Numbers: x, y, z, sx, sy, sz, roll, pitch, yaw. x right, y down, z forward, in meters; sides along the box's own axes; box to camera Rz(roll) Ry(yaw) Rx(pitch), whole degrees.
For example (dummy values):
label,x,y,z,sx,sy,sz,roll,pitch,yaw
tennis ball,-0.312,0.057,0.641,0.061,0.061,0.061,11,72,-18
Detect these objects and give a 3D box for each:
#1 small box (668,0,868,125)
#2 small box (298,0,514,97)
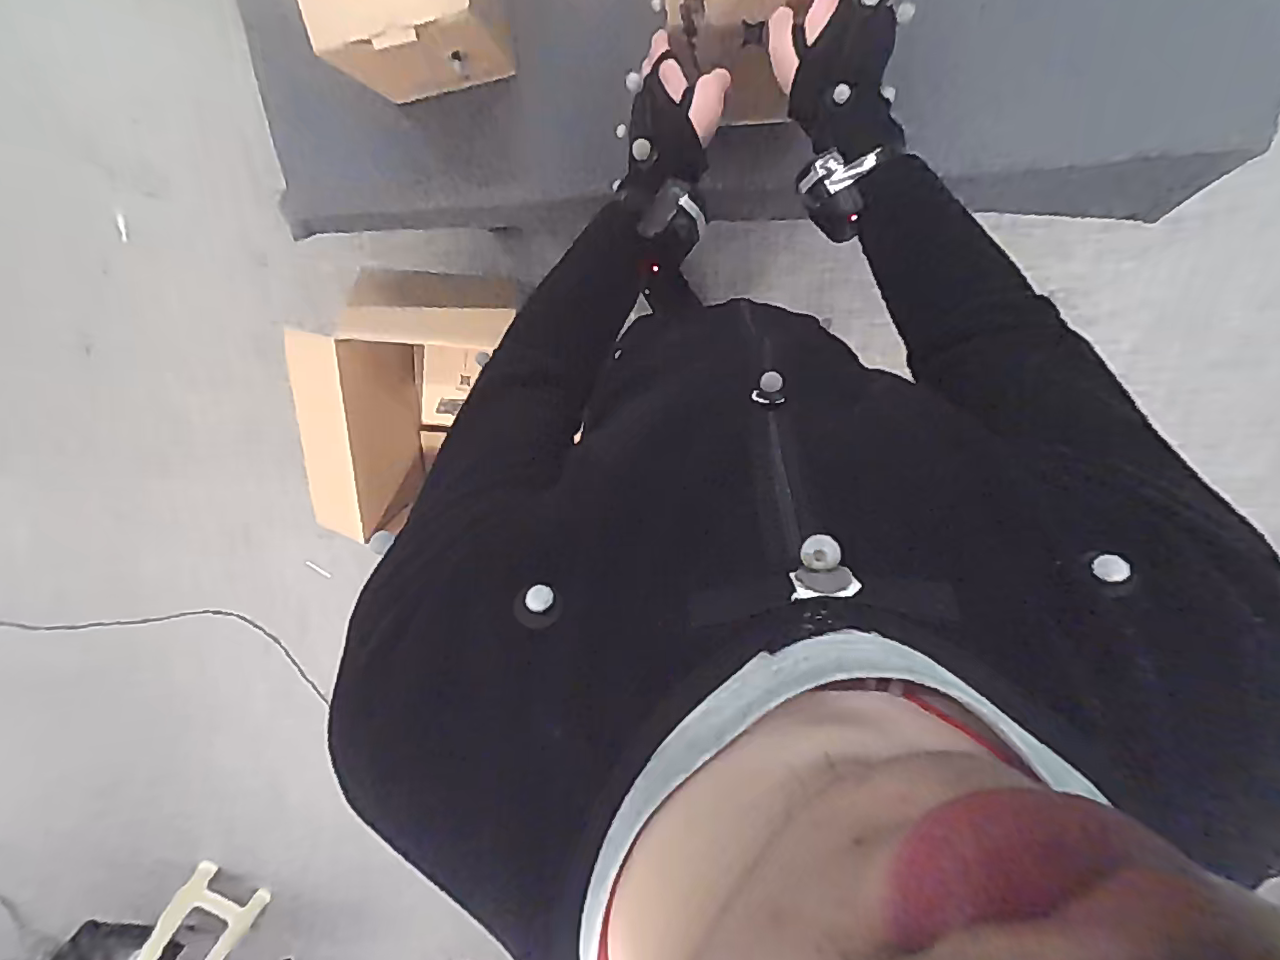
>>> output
label,x,y,z,sx,sy,sz,roll,pitch,yaw
small box,0.115,-0.482,0.522,0.179,0.168,0.176,0,67,5
small box,-0.247,-0.534,0.568,0.168,0.176,0.179,-9,108,7
